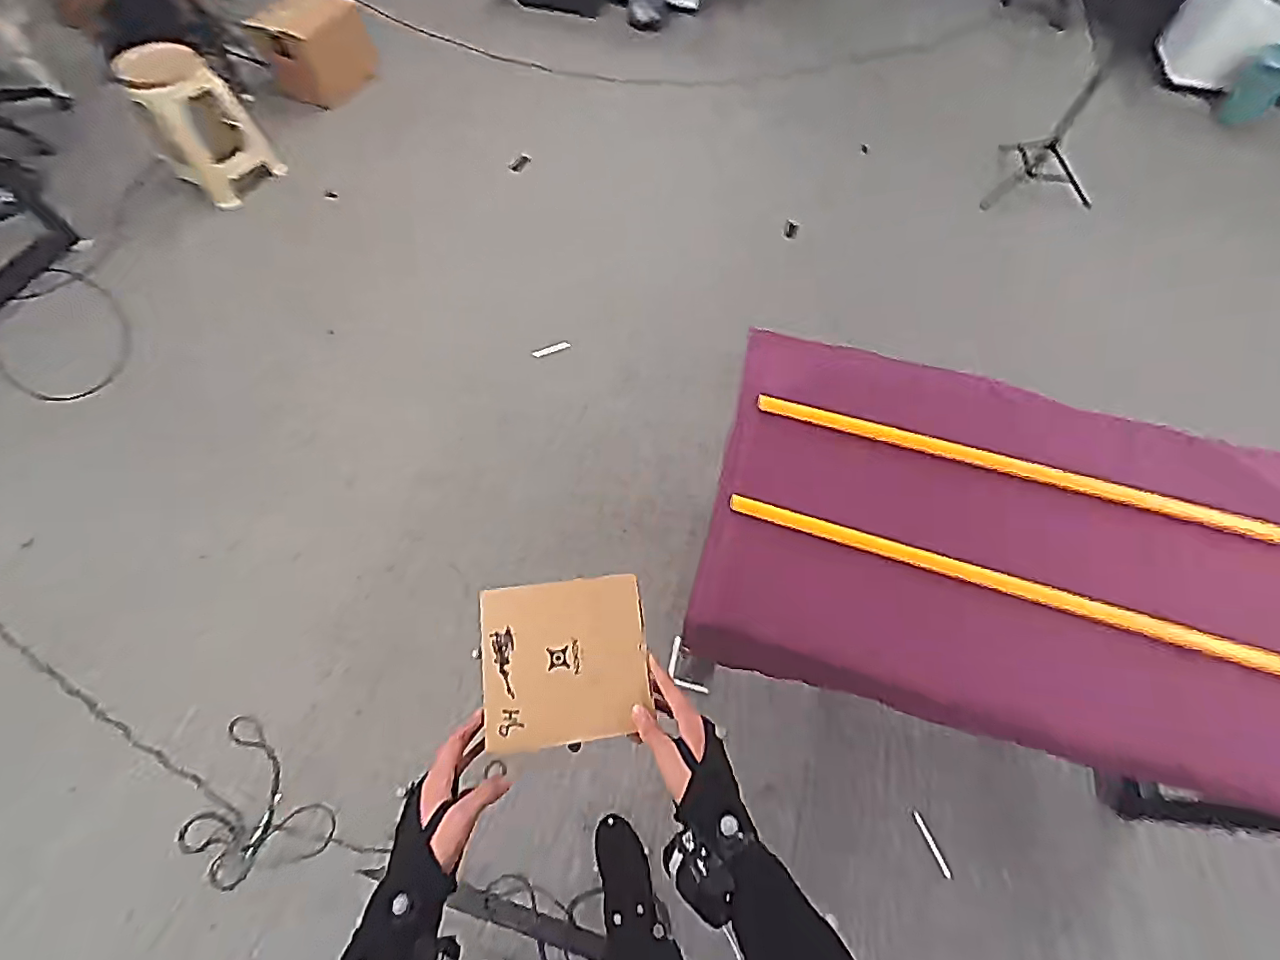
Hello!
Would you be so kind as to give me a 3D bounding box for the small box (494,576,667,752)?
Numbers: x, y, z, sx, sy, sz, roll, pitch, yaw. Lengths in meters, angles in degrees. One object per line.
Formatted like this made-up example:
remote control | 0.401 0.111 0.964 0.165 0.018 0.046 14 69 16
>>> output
small box | -0.075 0.216 0.643 0.179 0.176 0.168 -3 69 -9
